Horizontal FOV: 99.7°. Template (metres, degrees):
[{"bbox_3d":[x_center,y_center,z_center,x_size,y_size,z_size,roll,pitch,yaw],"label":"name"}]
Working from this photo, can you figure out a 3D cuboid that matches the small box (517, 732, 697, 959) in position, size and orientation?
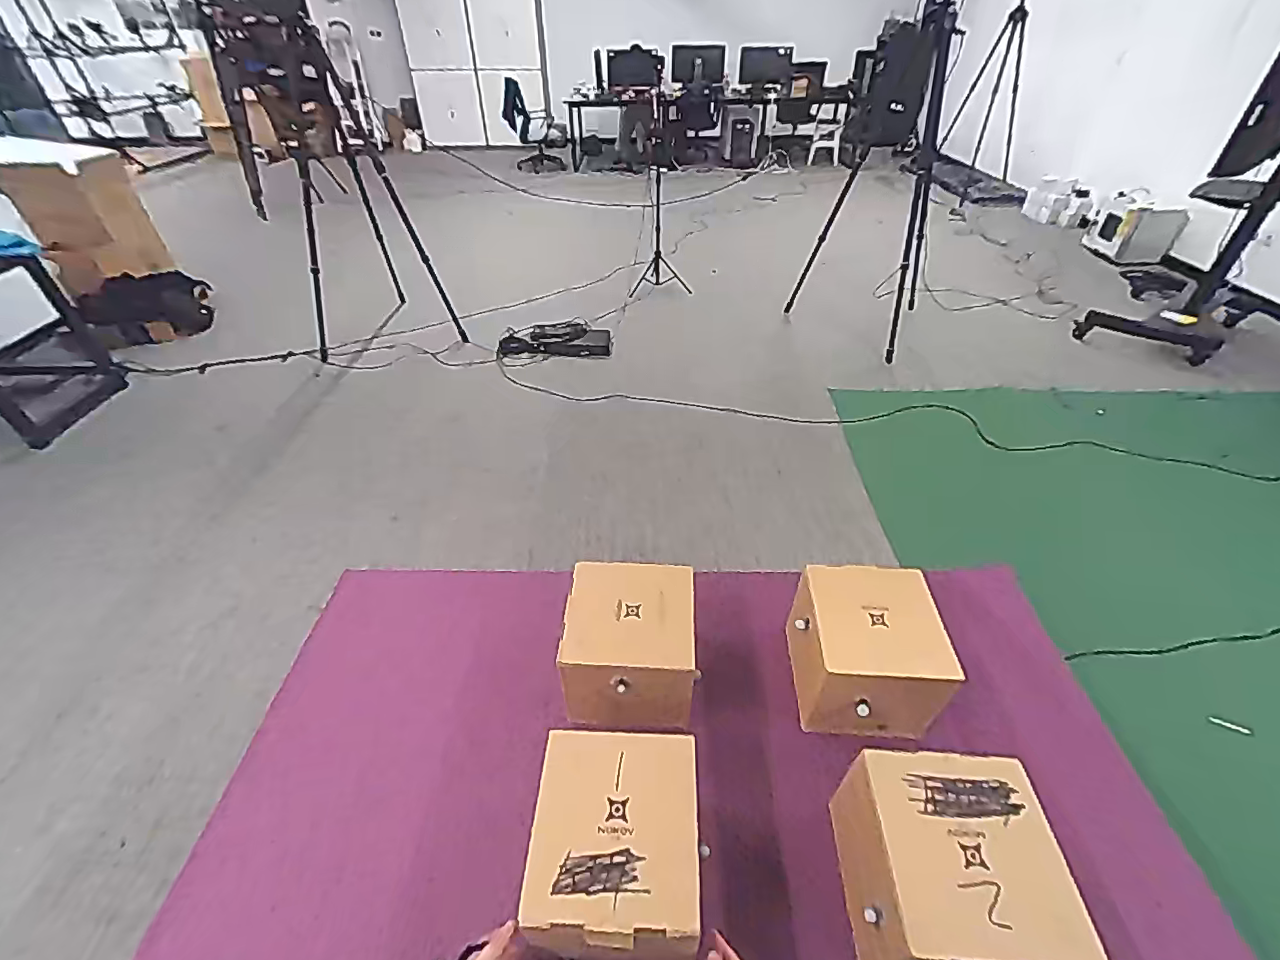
[{"bbox_3d":[-0.023,0.402,0.590,0.168,0.176,0.179,1,39,3],"label":"small box"}]

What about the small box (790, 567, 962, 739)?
[{"bbox_3d":[0.316,0.245,0.767,0.168,0.176,0.179,1,40,4],"label":"small box"}]

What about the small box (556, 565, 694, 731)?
[{"bbox_3d":[-0.012,0.243,0.782,0.179,0.176,0.168,2,41,4],"label":"small box"}]
